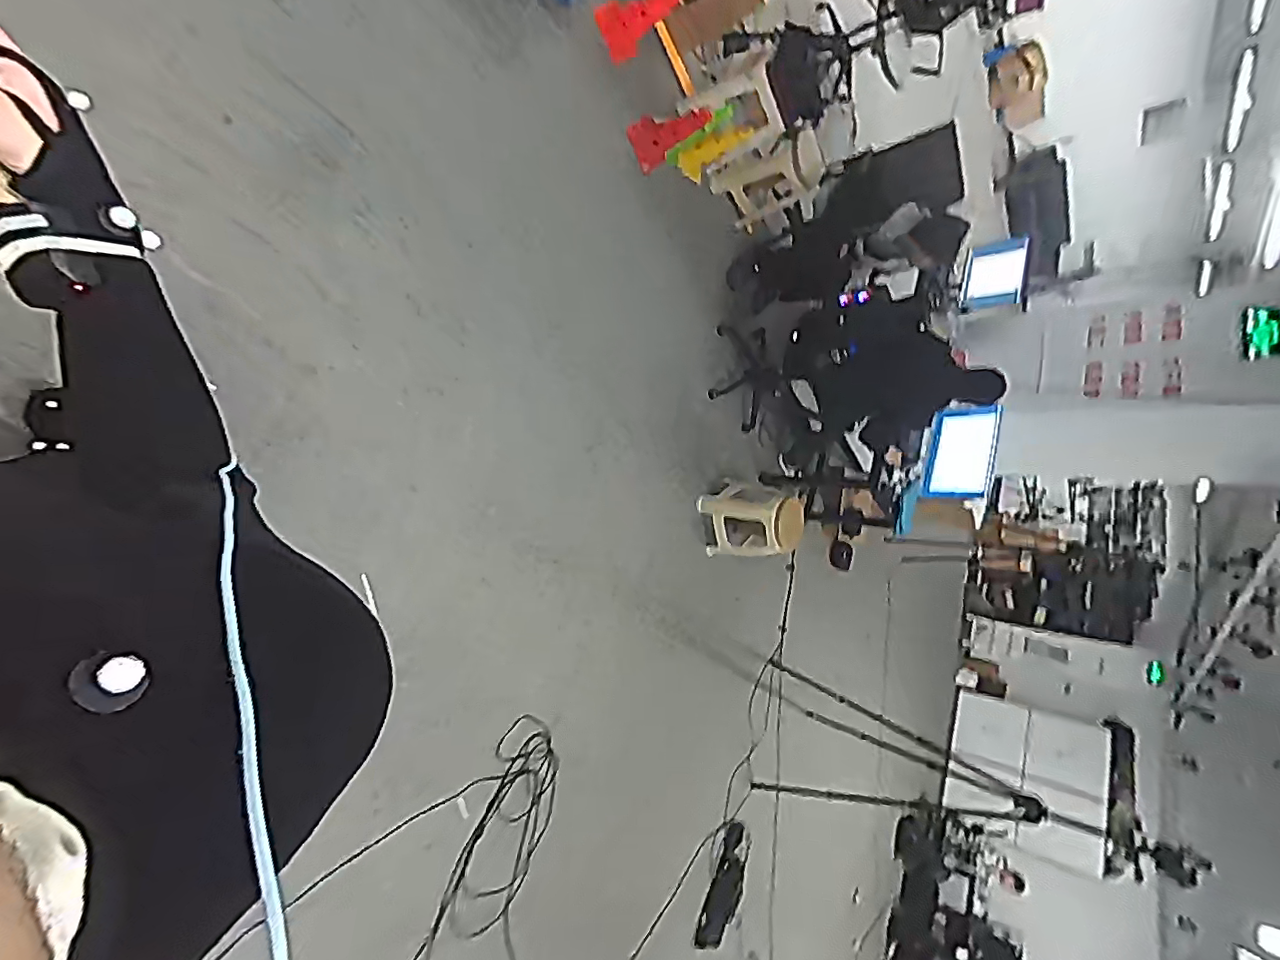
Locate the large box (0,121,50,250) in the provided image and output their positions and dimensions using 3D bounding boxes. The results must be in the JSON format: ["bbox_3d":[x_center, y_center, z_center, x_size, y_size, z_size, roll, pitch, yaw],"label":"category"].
[{"bbox_3d":[-0.732,-0.289,0.333,0.408,0.320,0.320,-32,127,-41],"label":"large box"}]
